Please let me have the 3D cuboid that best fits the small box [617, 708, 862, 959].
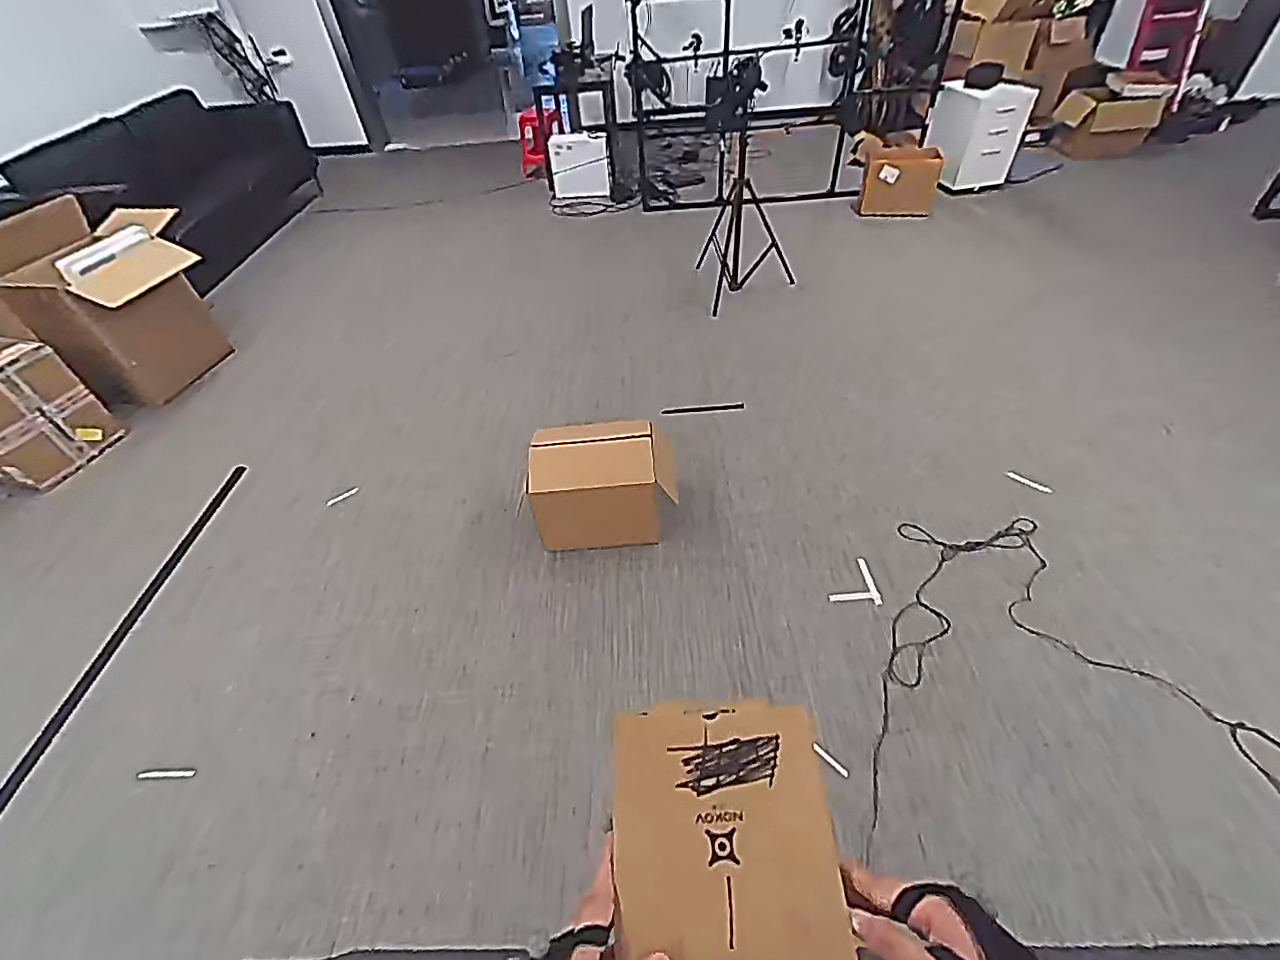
[{"bbox_3d":[0.063,0.312,0.465,0.168,0.176,0.179,-2,53,-1],"label":"small box"}]
